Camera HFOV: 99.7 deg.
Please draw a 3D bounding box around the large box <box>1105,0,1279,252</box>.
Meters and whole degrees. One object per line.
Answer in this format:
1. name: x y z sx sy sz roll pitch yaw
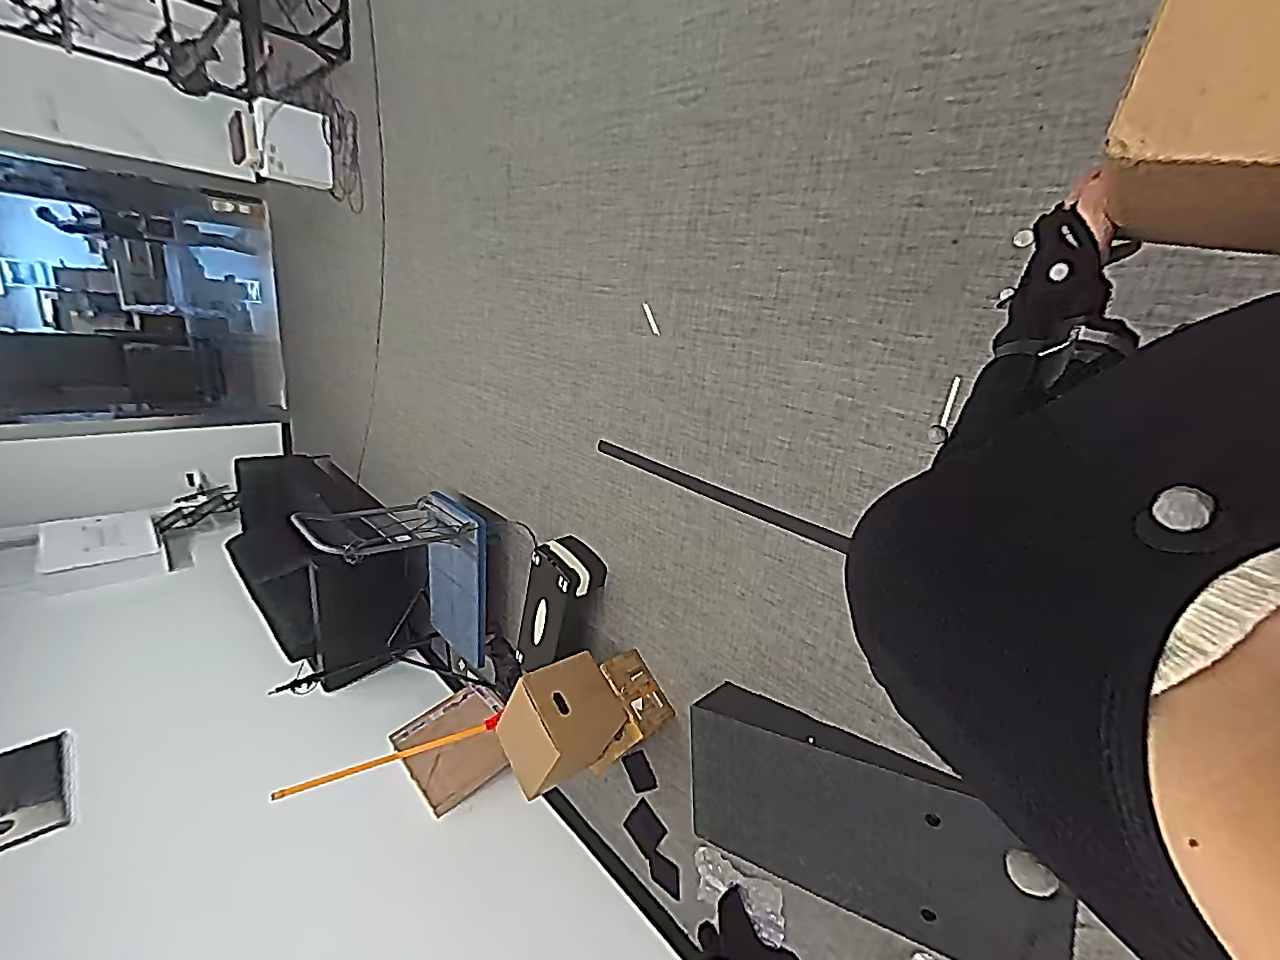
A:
1. large box: 0.489 -0.259 0.206 0.408 0.320 0.320 25 118 33
